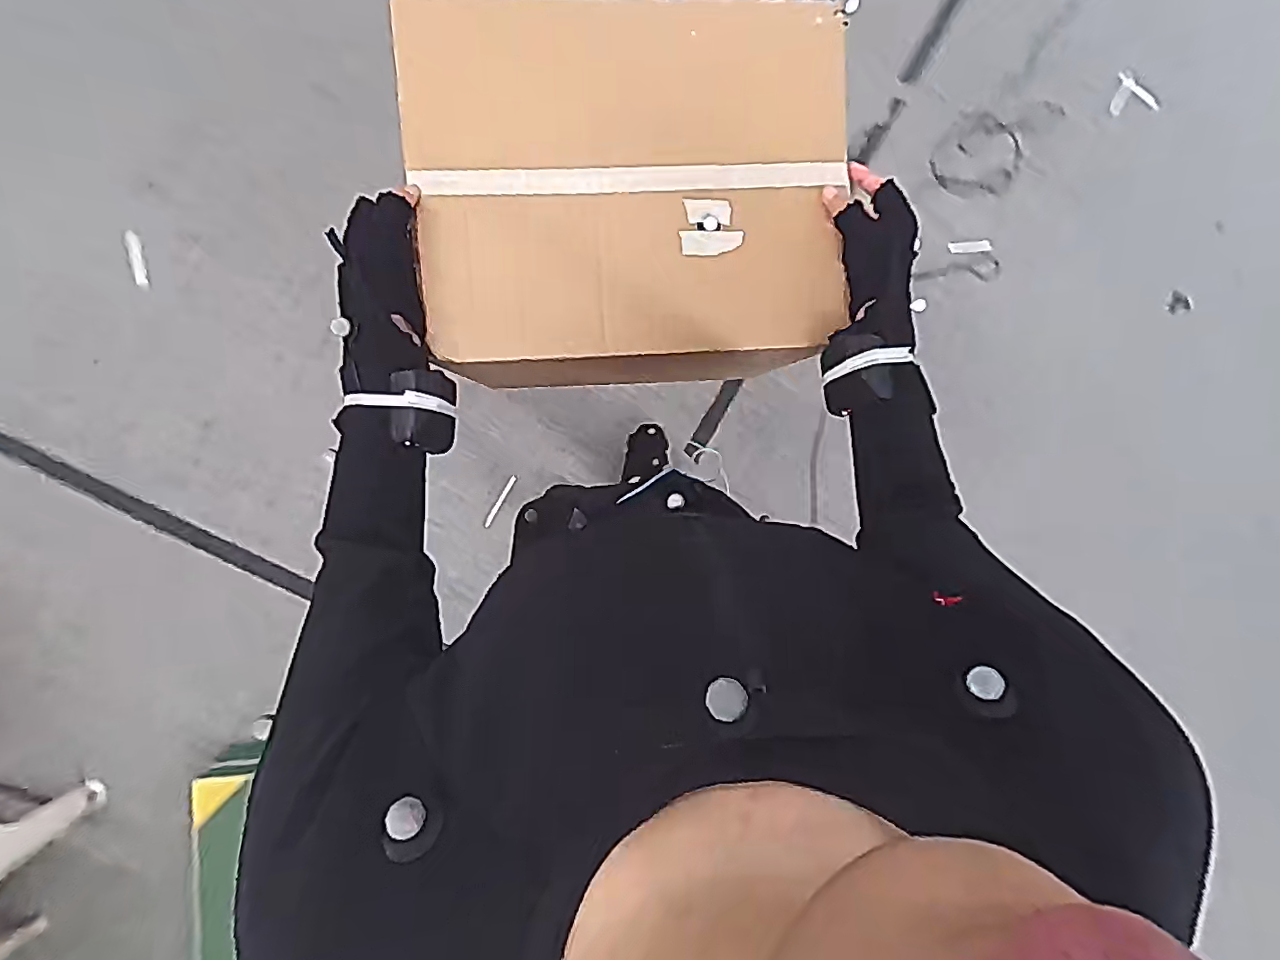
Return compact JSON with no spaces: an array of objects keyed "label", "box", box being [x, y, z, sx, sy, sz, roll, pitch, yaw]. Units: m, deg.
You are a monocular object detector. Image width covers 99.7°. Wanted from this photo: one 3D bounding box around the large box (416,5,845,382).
[{"label":"large box","box":[-0.013,-0.295,0.661,0.408,0.320,0.320,-2,97,-5]}]
